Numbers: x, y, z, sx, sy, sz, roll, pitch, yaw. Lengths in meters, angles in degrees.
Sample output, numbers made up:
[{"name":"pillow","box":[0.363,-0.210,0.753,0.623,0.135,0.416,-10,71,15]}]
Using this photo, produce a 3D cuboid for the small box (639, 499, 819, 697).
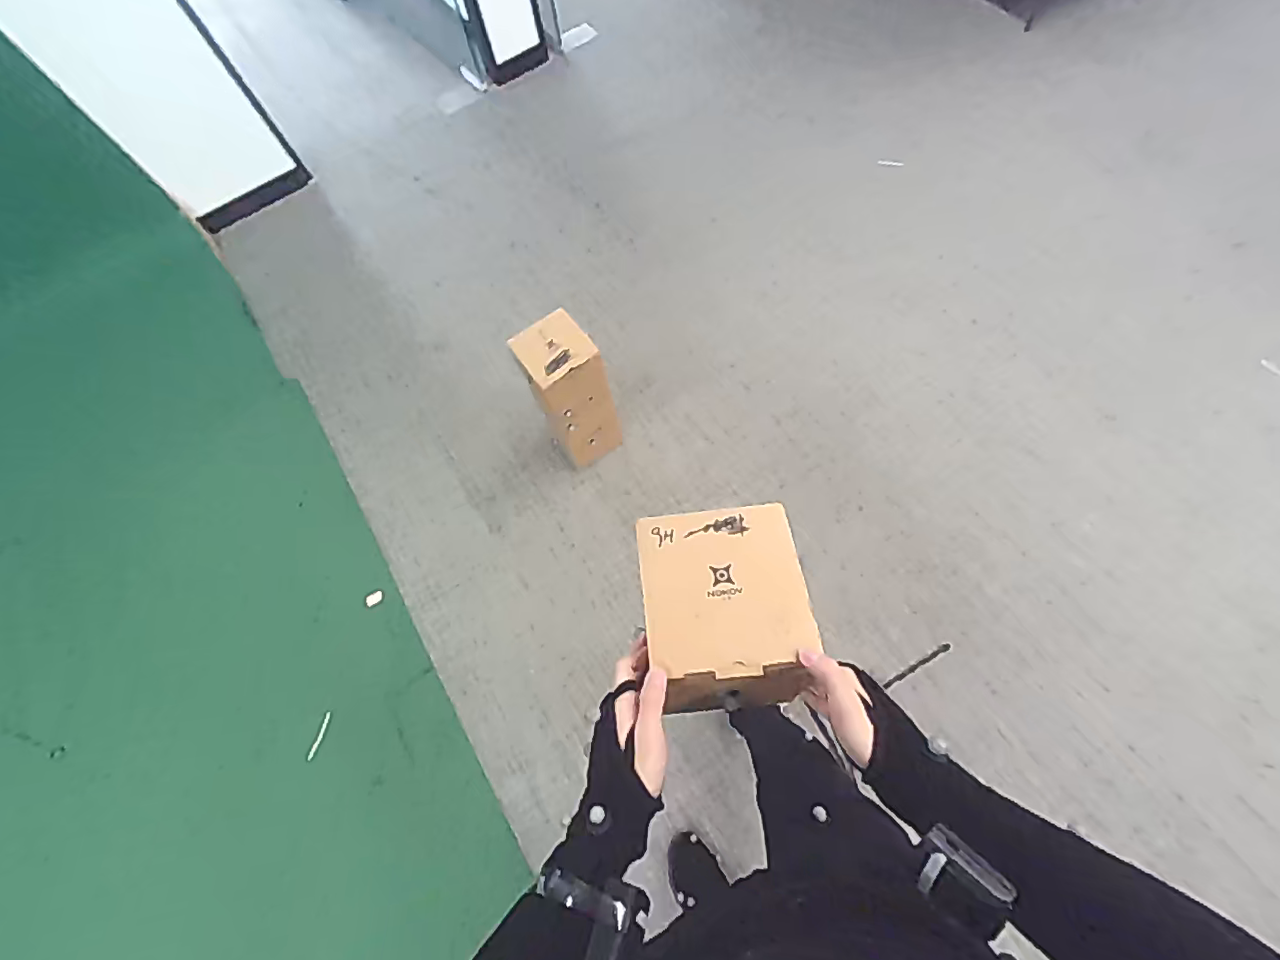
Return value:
[{"name":"small box","box":[0.091,0.144,0.626,0.168,0.176,0.179,-6,56,0]}]

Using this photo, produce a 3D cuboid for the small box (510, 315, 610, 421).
[{"name":"small box","box":[-0.195,-0.272,1.367,0.168,0.176,0.179,-35,67,-9]}]

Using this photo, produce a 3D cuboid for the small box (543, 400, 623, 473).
[{"name":"small box","box":[-0.170,-0.151,1.671,0.179,0.176,0.168,-33,68,-9]}]
